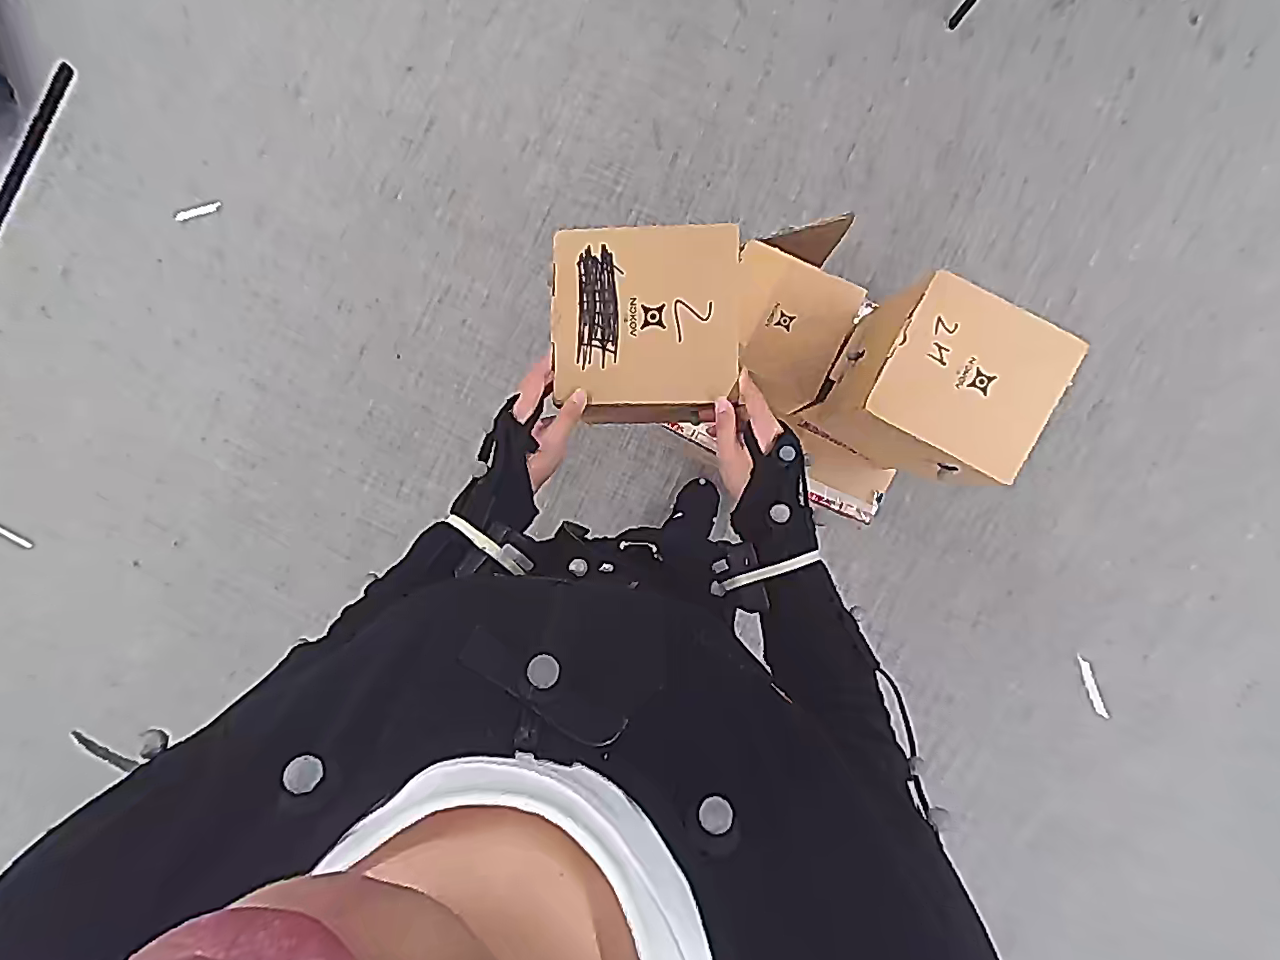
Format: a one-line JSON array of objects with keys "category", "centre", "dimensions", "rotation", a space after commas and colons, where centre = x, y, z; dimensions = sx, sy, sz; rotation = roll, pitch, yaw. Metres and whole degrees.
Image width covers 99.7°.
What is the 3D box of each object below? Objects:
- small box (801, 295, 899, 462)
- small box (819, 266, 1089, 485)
[{"category": "small box", "centre": [0.364, -0.133, 0.792], "dimensions": [0.179, 0.176, 0.168], "rotation": [32, 93, 1]}, {"category": "small box", "centre": [0.342, -0.110, 0.628], "dimensions": [0.179, 0.176, 0.168], "rotation": [29, 92, 1]}]
